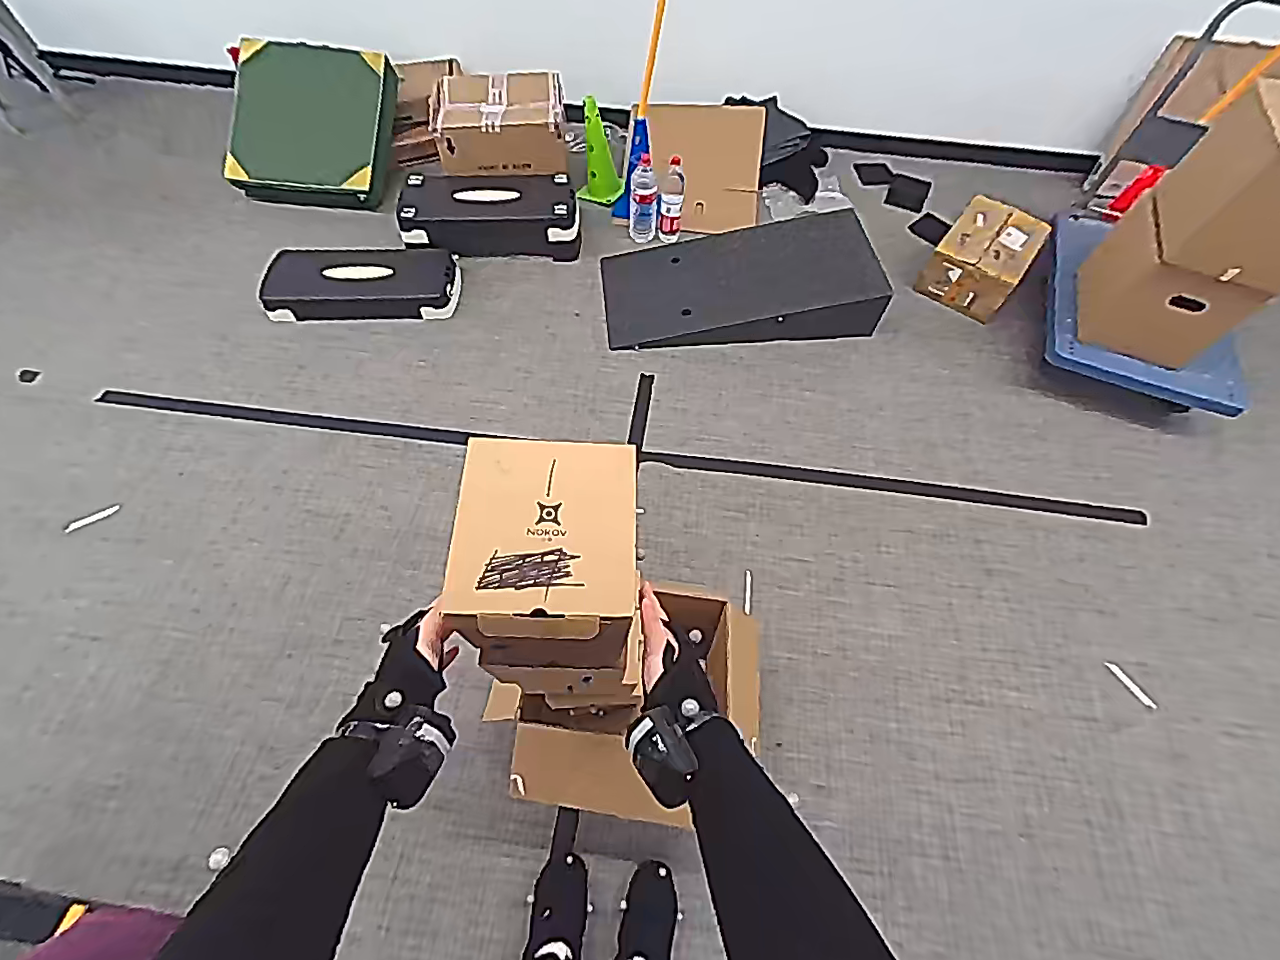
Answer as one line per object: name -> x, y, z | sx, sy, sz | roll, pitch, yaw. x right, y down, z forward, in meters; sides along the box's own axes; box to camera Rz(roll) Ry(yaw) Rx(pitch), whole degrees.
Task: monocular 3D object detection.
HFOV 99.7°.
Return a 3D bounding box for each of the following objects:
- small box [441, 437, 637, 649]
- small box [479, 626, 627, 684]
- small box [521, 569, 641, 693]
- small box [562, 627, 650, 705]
small box -> -0.092, 0.075, 0.566 | 0.168, 0.176, 0.179 | 3, 63, -5
small box -> -0.099, 0.165, 0.704 | 0.168, 0.176, 0.179 | 4, 63, -4
small box -> -0.093, 0.240, 0.850 | 0.179, 0.176, 0.168 | 3, 64, -4
small box -> -0.086, 0.372, 1.152 | 0.179, 0.176, 0.168 | -9, 64, -11
